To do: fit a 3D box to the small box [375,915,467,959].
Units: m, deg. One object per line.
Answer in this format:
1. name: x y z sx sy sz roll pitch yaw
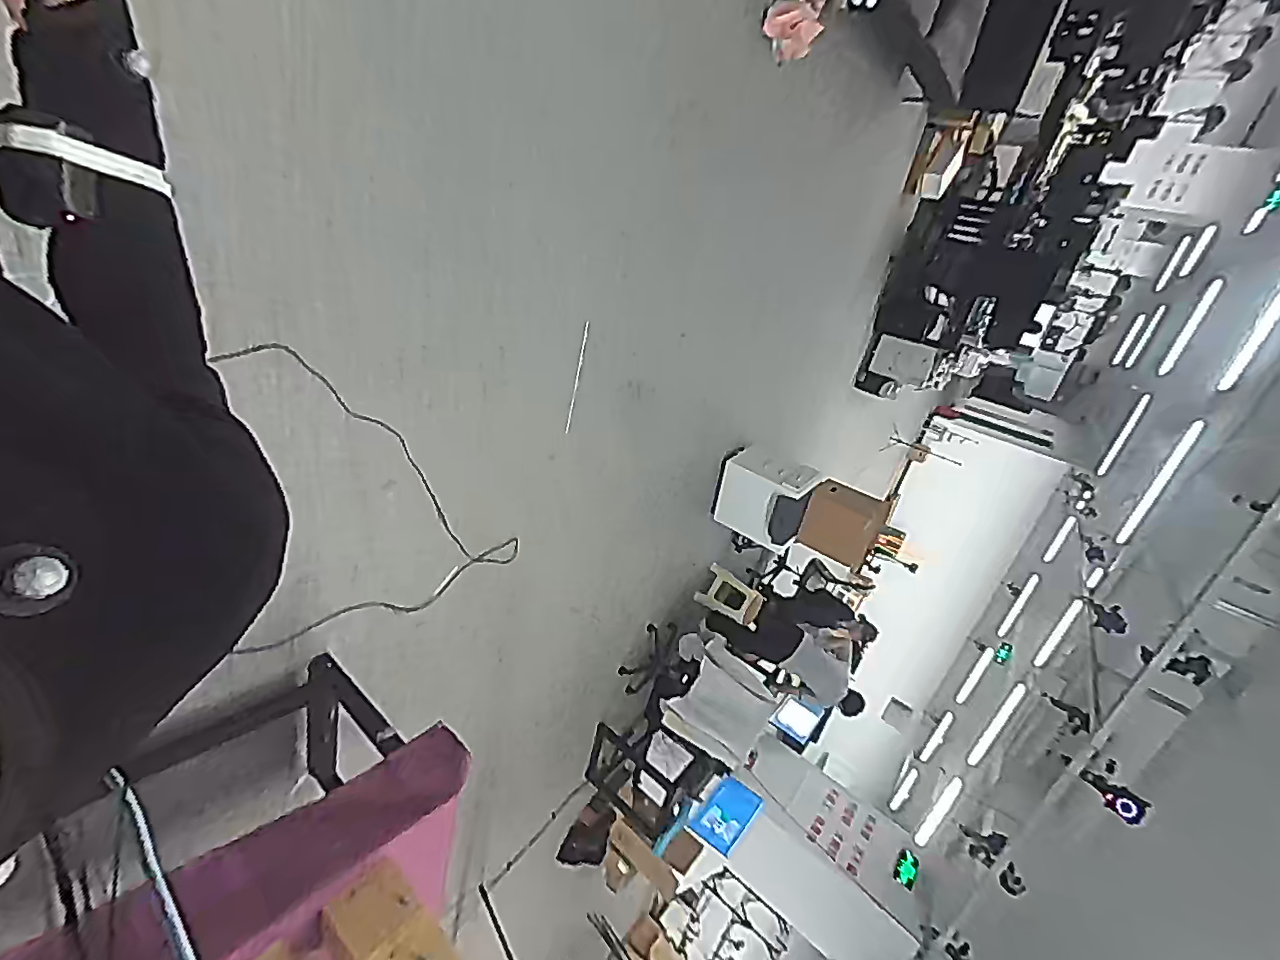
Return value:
1. small box: -0.507 1.150 1.228 0.168 0.176 0.179 -20 132 -48
